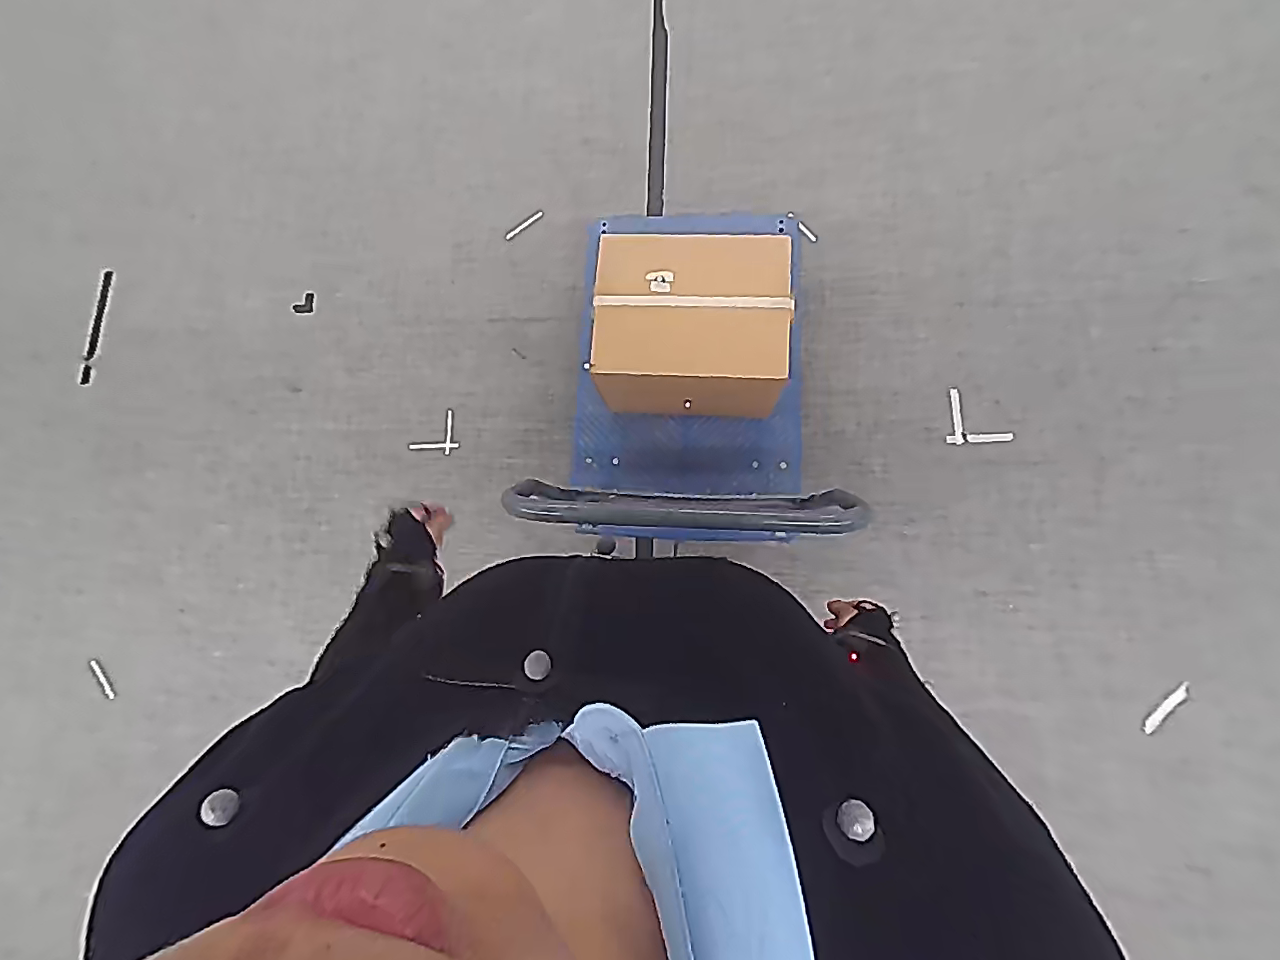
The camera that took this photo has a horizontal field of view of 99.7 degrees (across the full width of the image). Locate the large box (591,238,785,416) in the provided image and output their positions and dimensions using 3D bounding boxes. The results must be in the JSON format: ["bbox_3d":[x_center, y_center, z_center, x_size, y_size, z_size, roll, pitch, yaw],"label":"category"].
[{"bbox_3d":[0.118,-0.339,1.276,0.408,0.320,0.320,2,80,7],"label":"large box"}]
